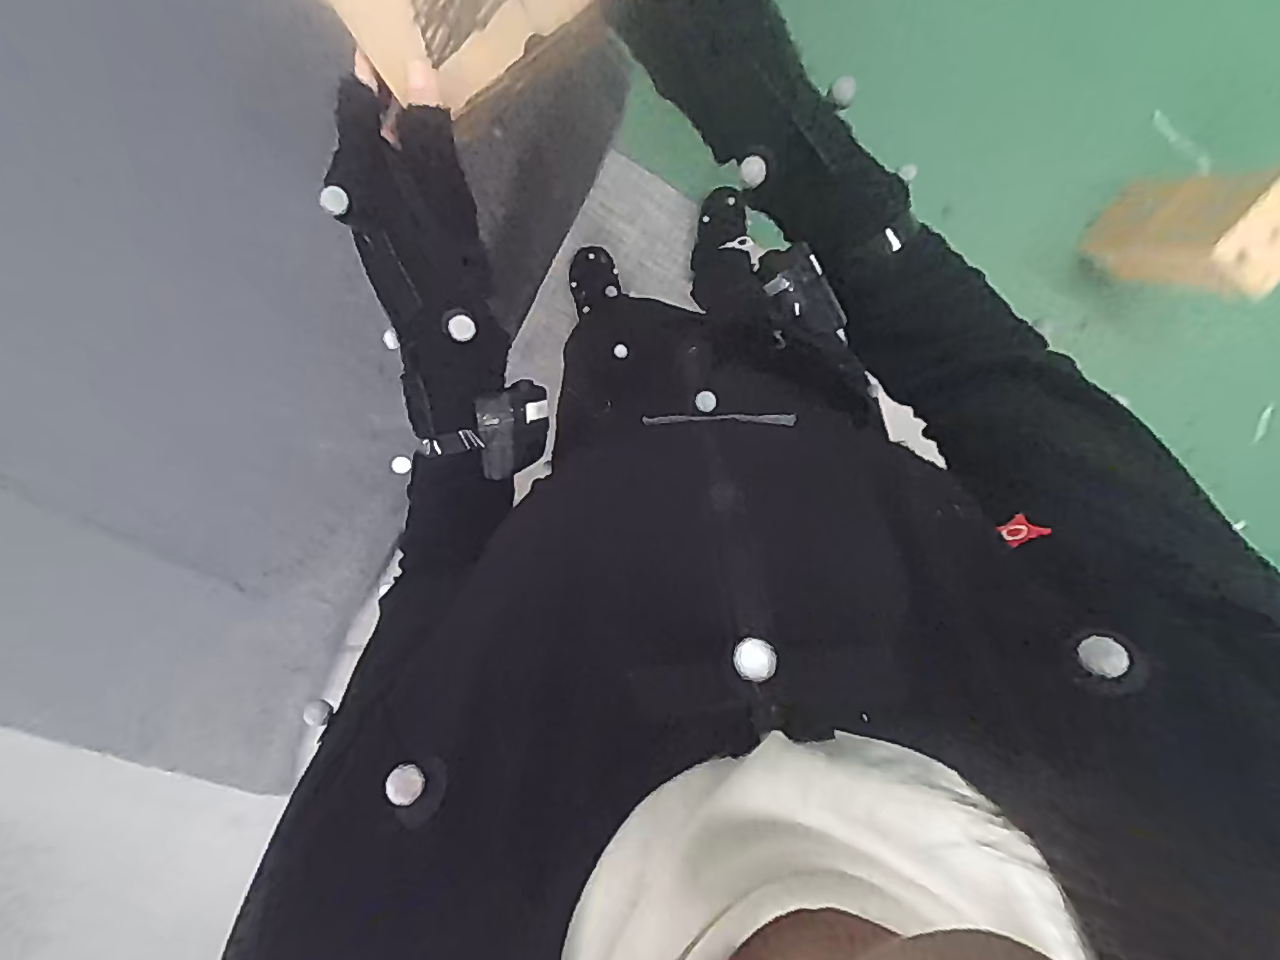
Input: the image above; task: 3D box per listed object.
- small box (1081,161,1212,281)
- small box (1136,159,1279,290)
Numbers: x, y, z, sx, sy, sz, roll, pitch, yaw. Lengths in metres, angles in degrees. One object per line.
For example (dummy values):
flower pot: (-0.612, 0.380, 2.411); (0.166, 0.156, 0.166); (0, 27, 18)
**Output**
small box: (1.154, -0.572, 1.203); (0.168, 0.176, 0.179); (29, 111, -15)
small box: (1.166, -0.507, 1.074); (0.168, 0.176, 0.179); (27, 111, -15)
